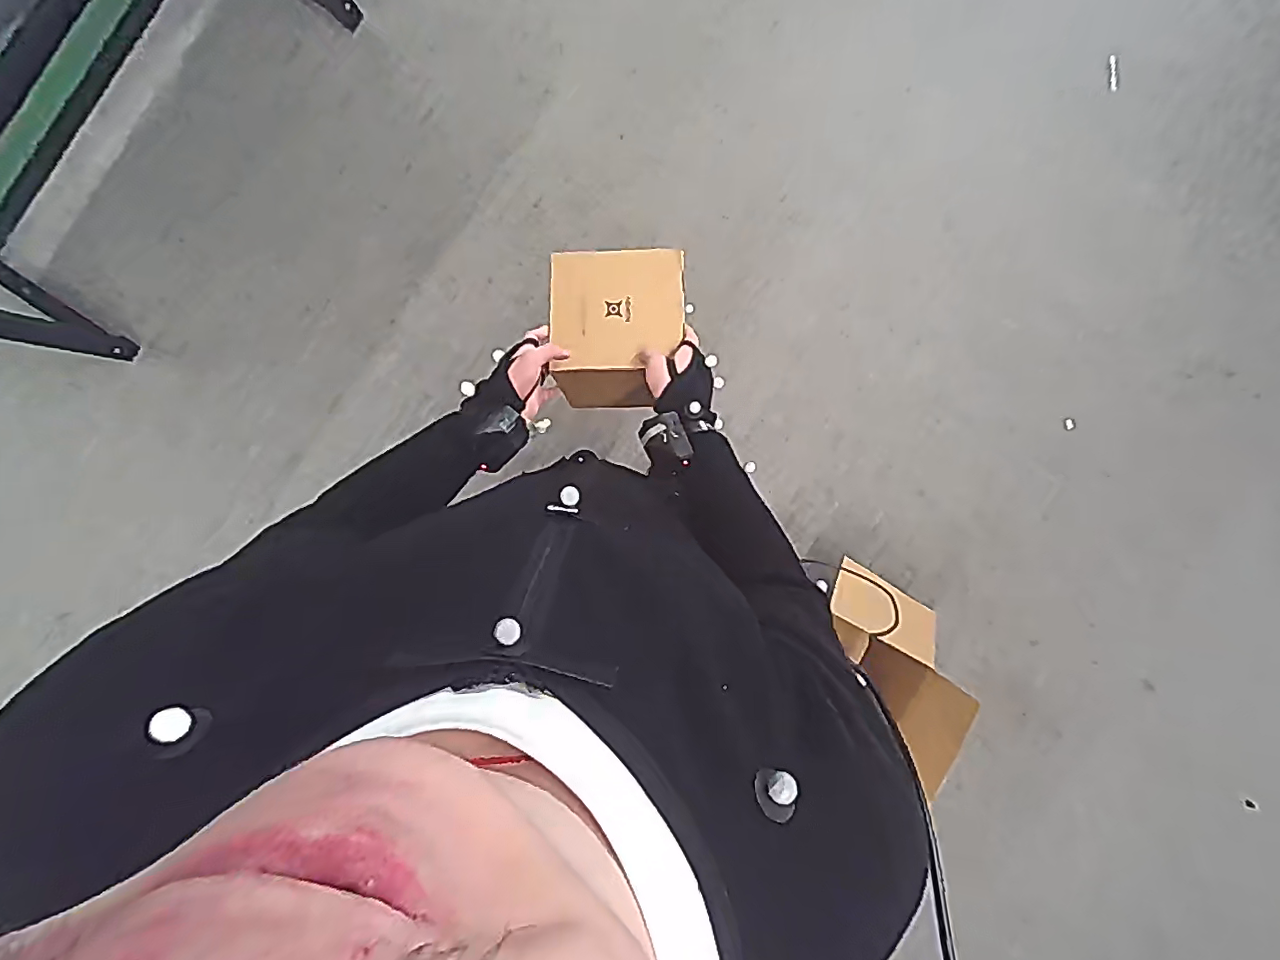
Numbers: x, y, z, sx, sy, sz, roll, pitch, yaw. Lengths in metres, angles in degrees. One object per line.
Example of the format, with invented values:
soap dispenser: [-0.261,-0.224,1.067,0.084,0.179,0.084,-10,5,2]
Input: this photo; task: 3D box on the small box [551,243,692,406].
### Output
small box: [-0.020,-0.209,0.760,0.179,0.176,0.168,0,79,3]
